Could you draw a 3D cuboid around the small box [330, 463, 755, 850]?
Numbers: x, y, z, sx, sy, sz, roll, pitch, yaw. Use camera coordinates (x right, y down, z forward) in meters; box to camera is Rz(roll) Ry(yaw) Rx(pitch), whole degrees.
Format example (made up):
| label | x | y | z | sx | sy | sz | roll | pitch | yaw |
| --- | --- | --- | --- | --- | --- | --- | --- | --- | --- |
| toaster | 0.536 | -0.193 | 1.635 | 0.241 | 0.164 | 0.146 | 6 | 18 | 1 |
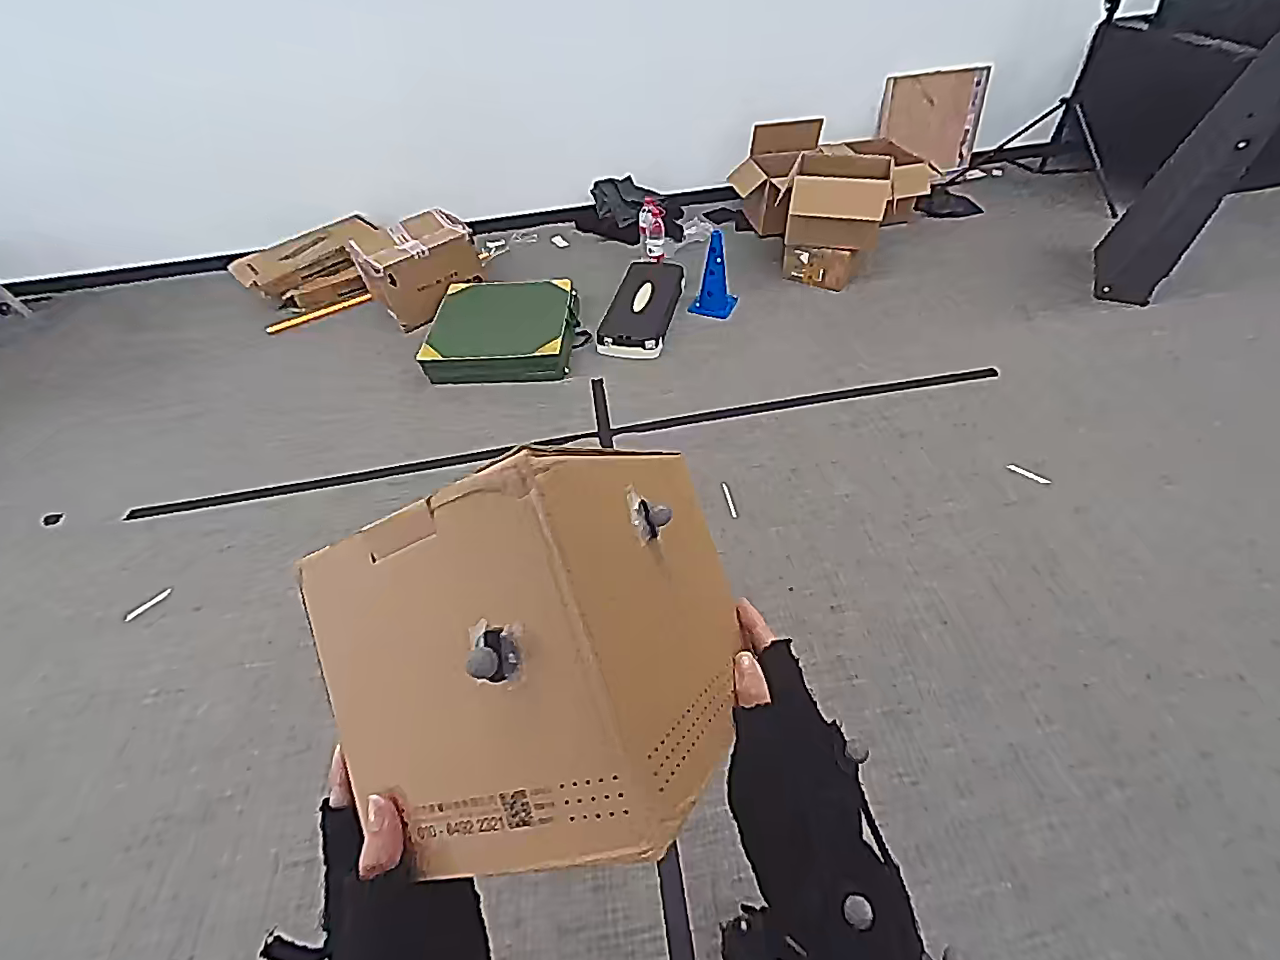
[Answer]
| label | x | y | z | sx | sy | sz | roll | pitch | yaw |
| --- | --- | --- | --- | --- | --- | --- | --- | --- | --- |
| small box | -0.045 | 0.099 | 0.336 | 0.168 | 0.179 | 0.176 | -22 | 82 | 24 |
